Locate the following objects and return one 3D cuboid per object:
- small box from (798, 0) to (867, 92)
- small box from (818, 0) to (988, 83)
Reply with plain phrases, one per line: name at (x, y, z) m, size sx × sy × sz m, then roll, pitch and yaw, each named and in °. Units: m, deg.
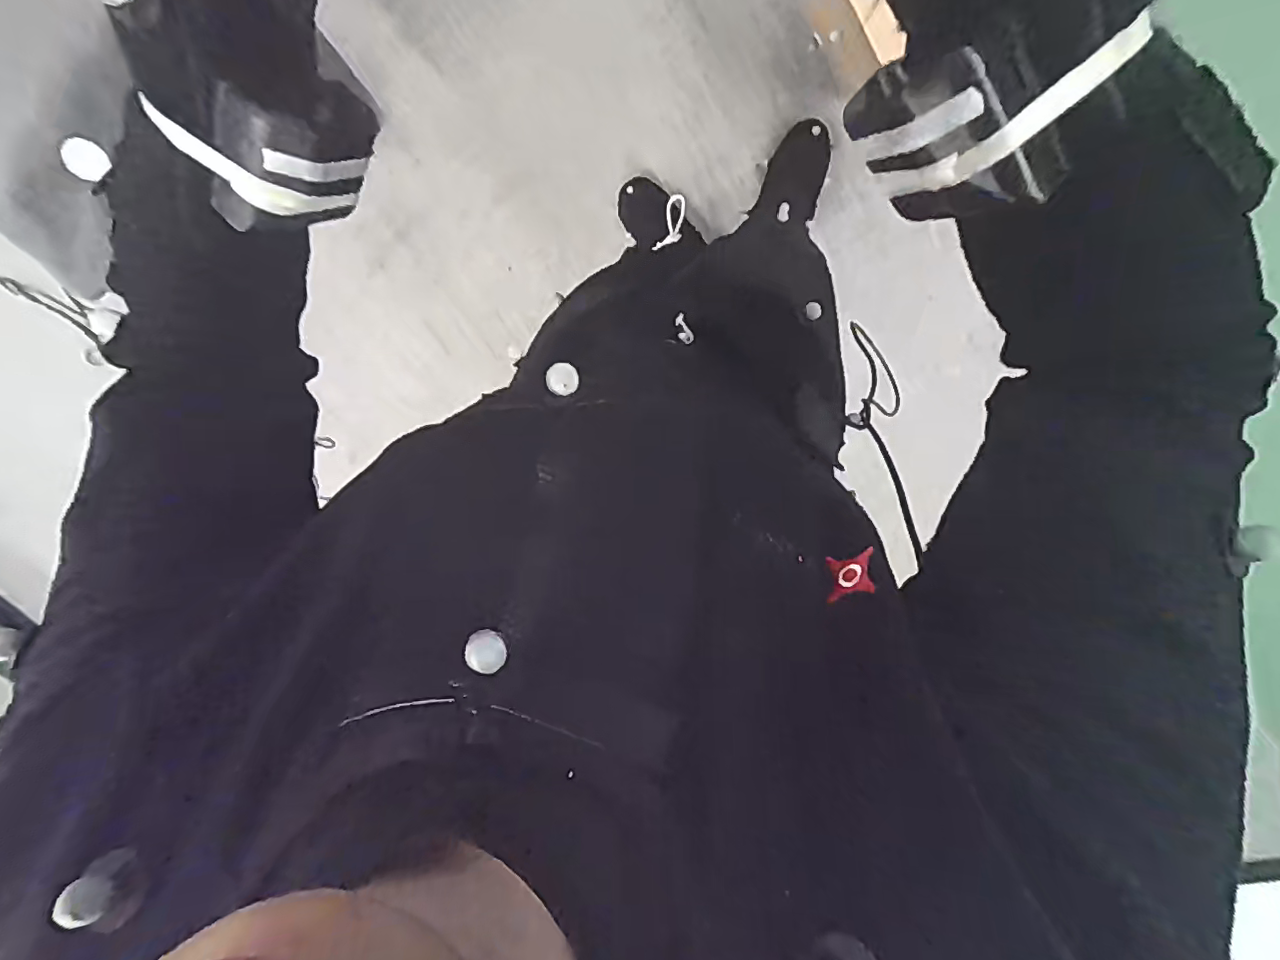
small box at (0.372, -0.760, 0.858) m, size 0.179 × 0.176 × 0.168 m, roll -32°, pitch 113°, yaw 26°
small box at (0.356, -0.673, 0.720) m, size 0.179 × 0.176 × 0.168 m, roll -32°, pitch 114°, yaw 26°
